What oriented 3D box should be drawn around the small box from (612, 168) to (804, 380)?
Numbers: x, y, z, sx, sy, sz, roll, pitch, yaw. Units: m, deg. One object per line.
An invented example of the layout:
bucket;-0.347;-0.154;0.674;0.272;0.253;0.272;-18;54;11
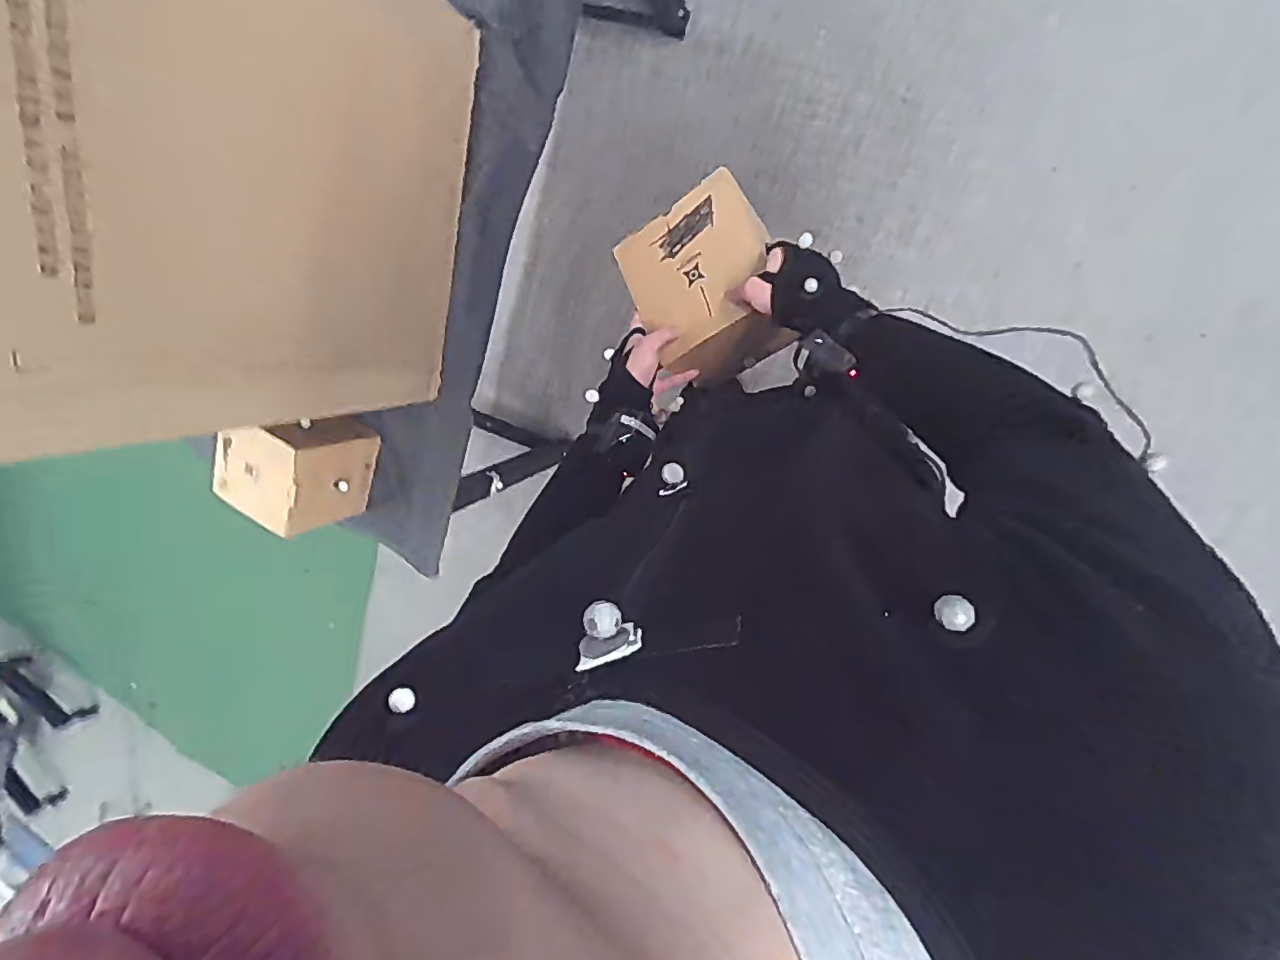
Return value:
small box;0.095;-0.254;0.716;0.168;0.176;0.179;-27;77;27
